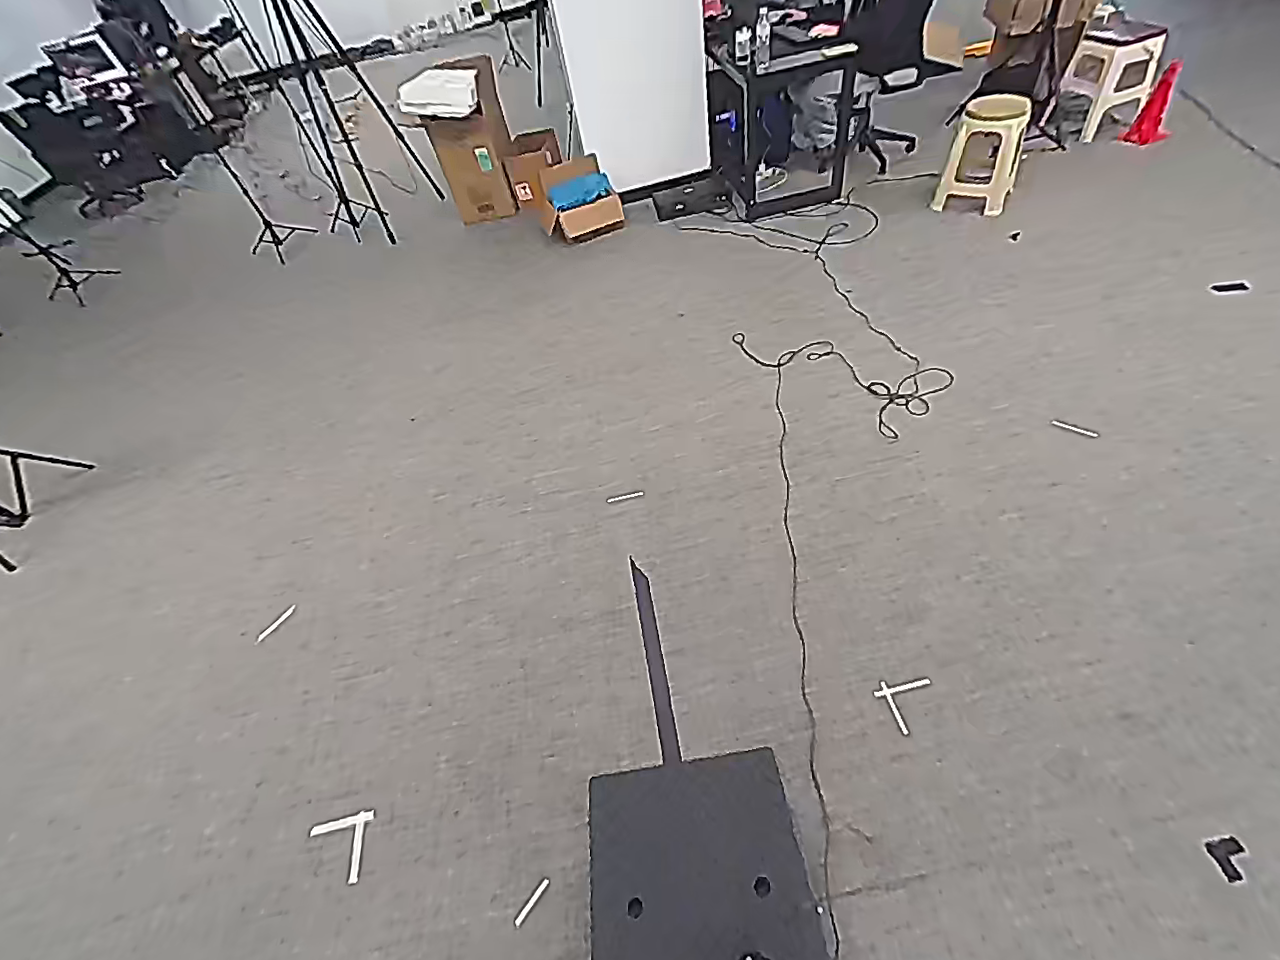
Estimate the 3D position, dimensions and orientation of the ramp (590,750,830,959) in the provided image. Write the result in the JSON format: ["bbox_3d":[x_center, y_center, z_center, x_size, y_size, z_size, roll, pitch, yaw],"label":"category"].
[{"bbox_3d":[0.148,1.058,1.029,0.509,0.206,0.991,-13,48,2],"label":"ramp"}]
